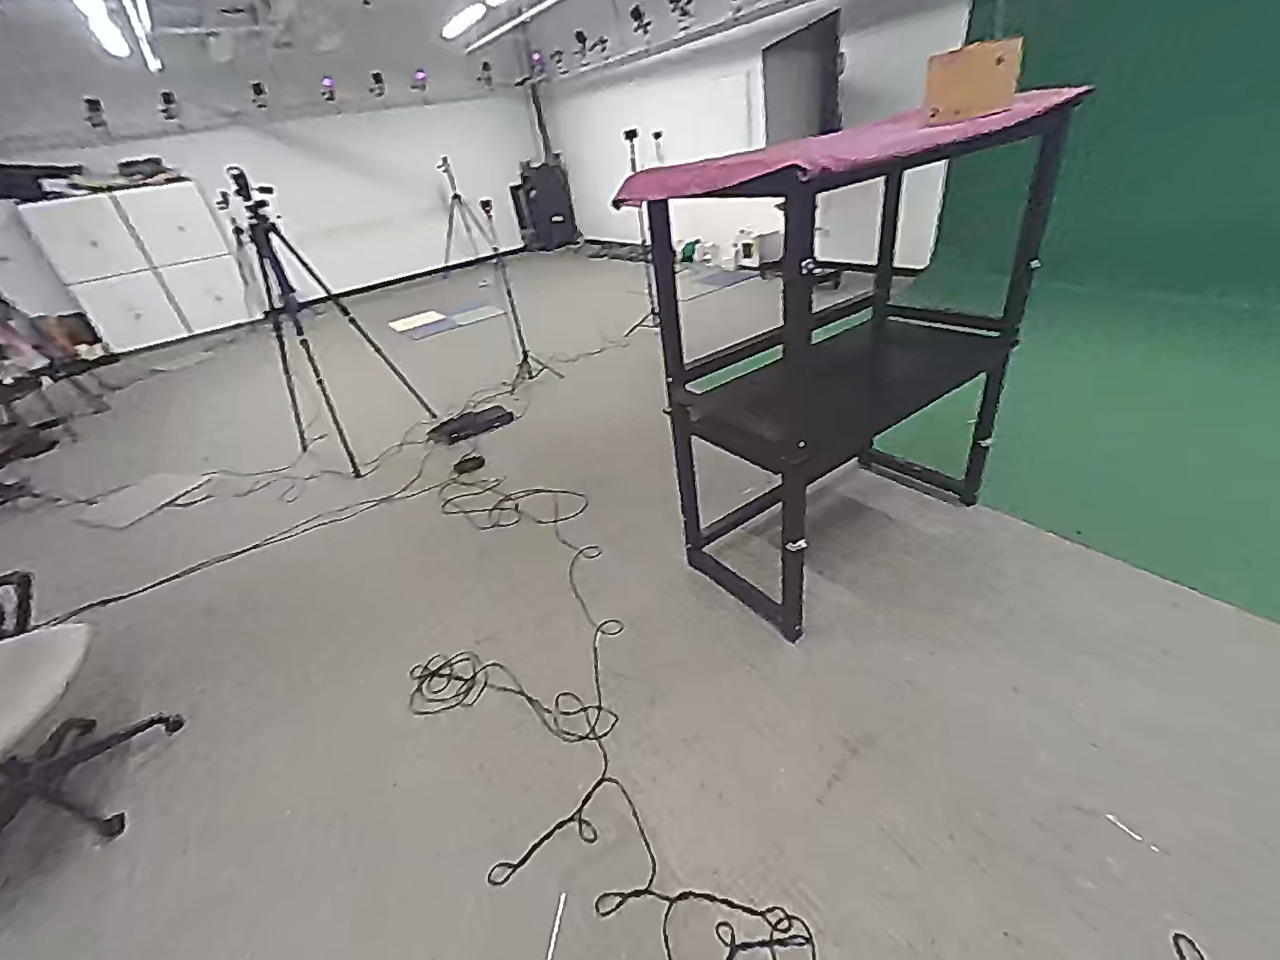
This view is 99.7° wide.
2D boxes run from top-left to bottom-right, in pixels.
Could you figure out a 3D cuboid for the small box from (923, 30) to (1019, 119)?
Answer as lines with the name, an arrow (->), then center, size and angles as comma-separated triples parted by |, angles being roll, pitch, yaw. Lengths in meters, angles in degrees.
small box -> 0.921, -1.128, 1.516 | 0.179, 0.176, 0.168 | -26, 34, -24
